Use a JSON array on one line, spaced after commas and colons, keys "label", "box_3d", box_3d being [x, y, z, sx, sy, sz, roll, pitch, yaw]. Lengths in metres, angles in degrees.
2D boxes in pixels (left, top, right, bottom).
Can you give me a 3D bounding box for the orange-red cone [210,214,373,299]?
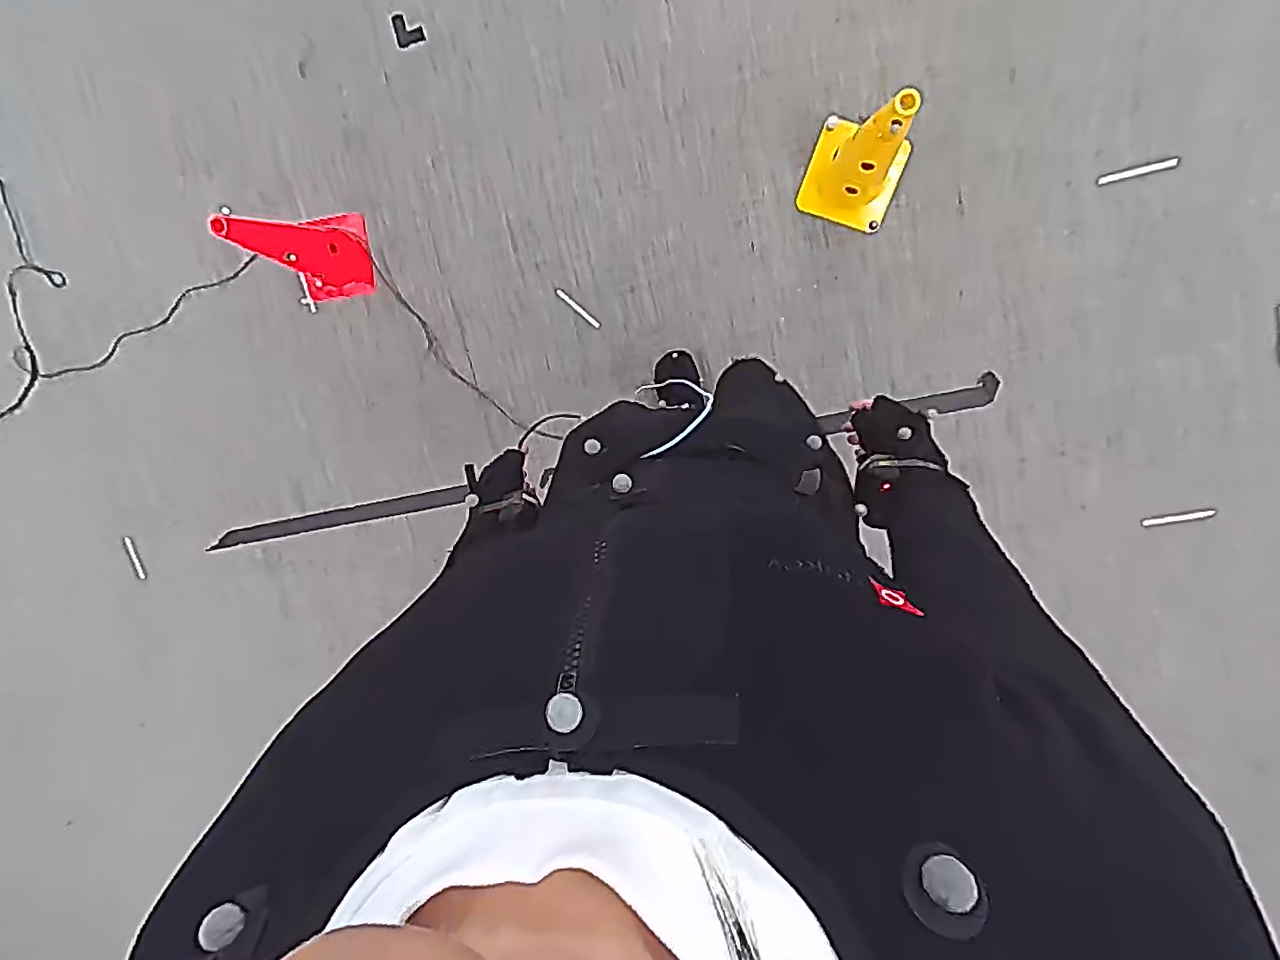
[{"label": "orange-red cone", "box_3d": [-0.821, -0.545, 1.249, 0.199, 0.360, 0.198, -4, 102, 7]}]
